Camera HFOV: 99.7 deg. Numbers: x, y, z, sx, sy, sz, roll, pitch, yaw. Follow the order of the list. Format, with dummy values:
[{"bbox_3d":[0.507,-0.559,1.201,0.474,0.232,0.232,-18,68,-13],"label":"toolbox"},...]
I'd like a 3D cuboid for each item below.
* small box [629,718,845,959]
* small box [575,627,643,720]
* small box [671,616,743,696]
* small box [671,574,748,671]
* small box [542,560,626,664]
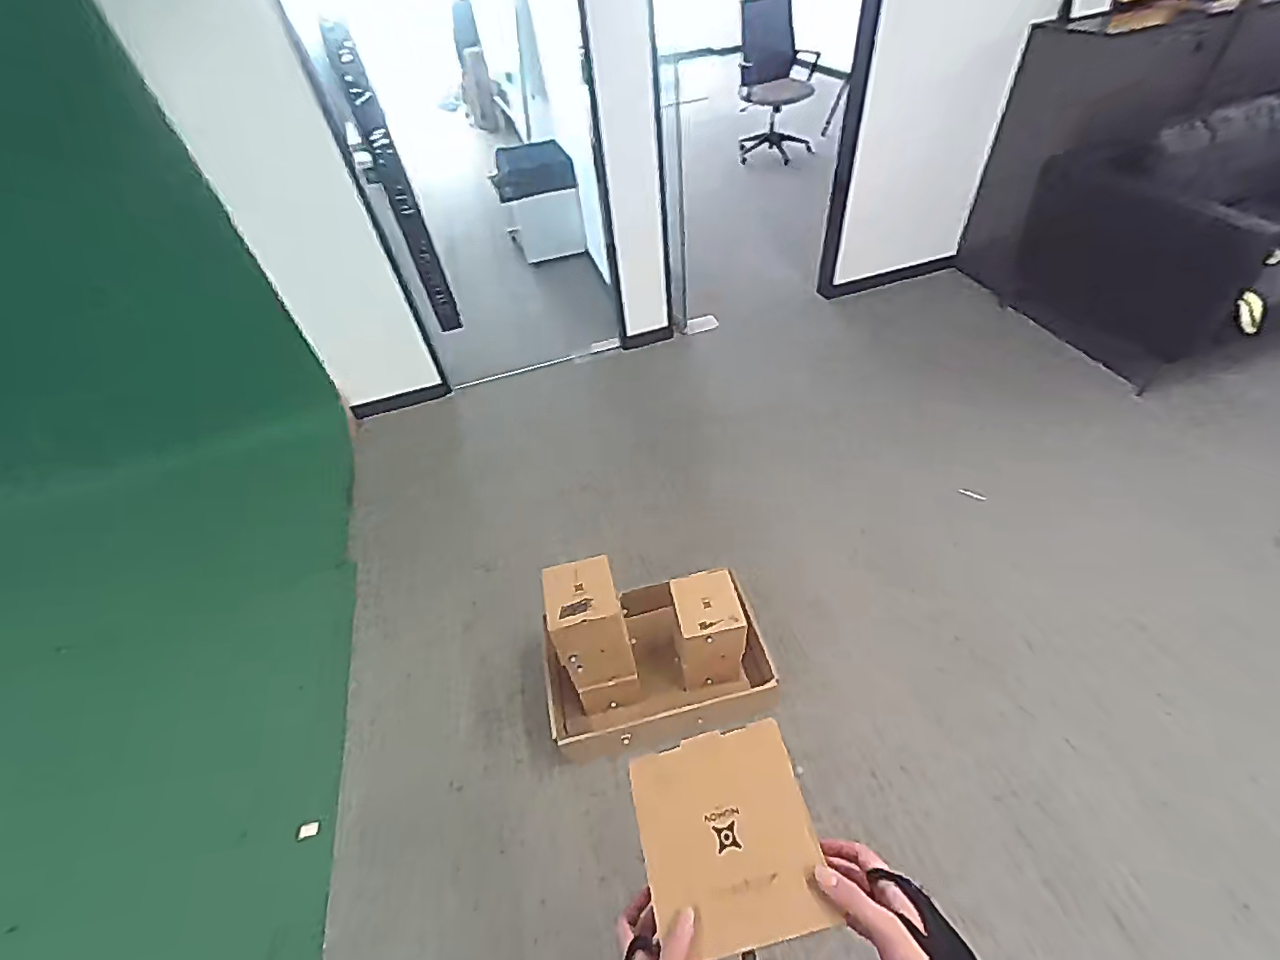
[{"bbox_3d":[0.098,0.384,0.576,0.168,0.176,0.179,-18,50,3],"label":"small box"},{"bbox_3d":[-0.093,0.556,1.552,0.168,0.176,0.179,-13,45,-4],"label":"small box"},{"bbox_3d":[0.191,0.496,1.570,0.168,0.176,0.179,-12,46,-4],"label":"small box"},{"bbox_3d":[0.182,0.383,1.452,0.168,0.176,0.179,-11,45,-3],"label":"small box"},{"bbox_3d":[-0.135,0.328,1.319,0.168,0.176,0.179,-12,44,-5],"label":"small box"}]
